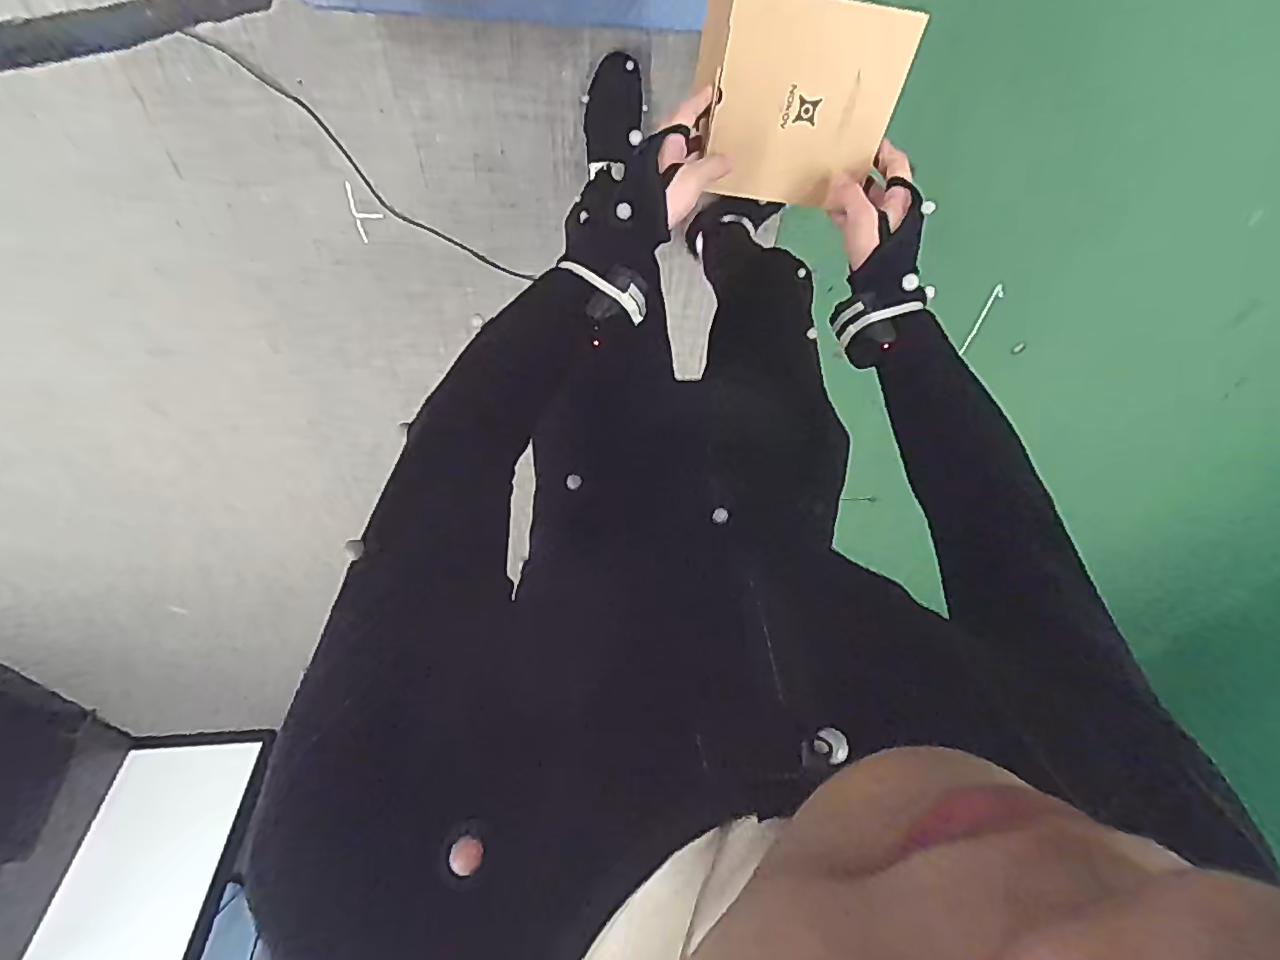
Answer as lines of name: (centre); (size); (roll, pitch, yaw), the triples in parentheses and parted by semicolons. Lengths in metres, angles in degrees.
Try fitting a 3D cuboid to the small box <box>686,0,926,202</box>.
small box: (0.151, -0.419, 0.571); (0.179, 0.176, 0.168); (5, 133, -7)
